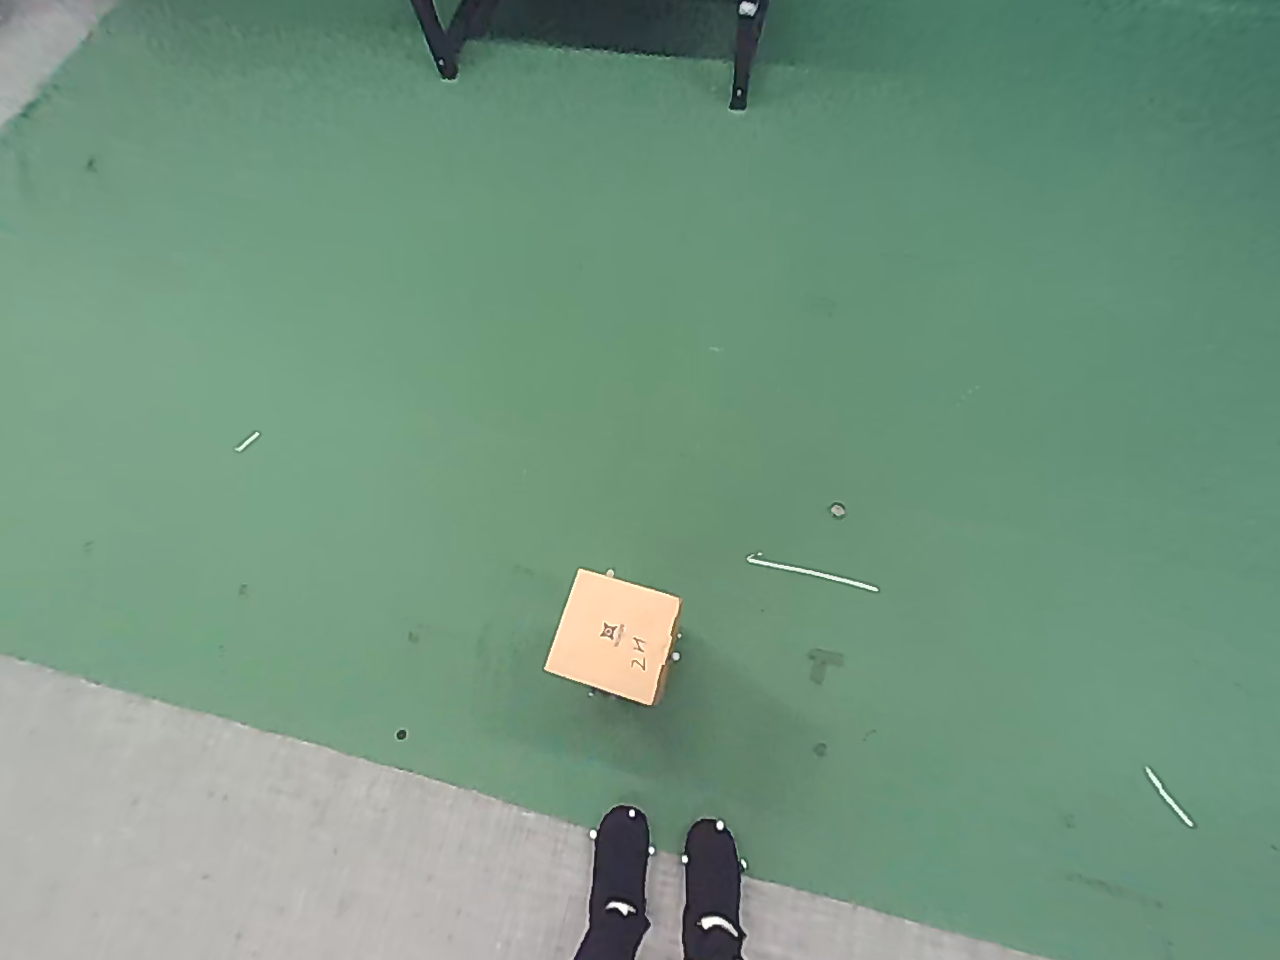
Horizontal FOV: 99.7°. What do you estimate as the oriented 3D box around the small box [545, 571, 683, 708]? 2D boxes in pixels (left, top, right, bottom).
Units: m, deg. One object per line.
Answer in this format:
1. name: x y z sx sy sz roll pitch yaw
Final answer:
1. small box: -0.033 0.268 0.899 0.179 0.176 0.168 15 71 10
